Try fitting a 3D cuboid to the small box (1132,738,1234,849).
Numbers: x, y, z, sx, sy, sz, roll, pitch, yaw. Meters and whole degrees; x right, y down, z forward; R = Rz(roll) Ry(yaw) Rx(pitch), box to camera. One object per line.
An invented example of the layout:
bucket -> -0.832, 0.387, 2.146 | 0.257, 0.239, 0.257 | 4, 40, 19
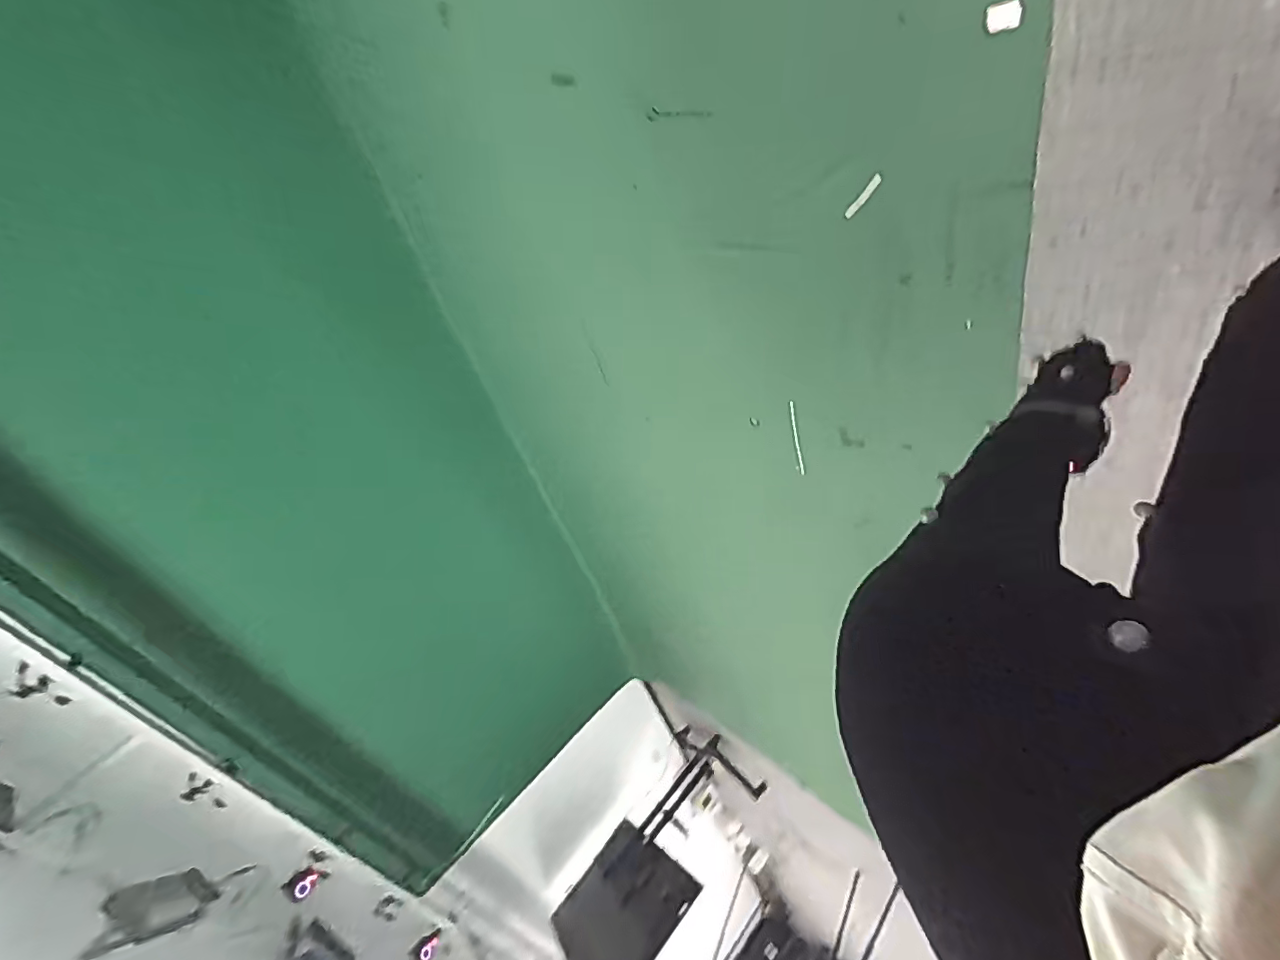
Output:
small box -> 1.509, 0.864, 1.505 | 0.168, 0.176, 0.179 | 17, 140, 49
